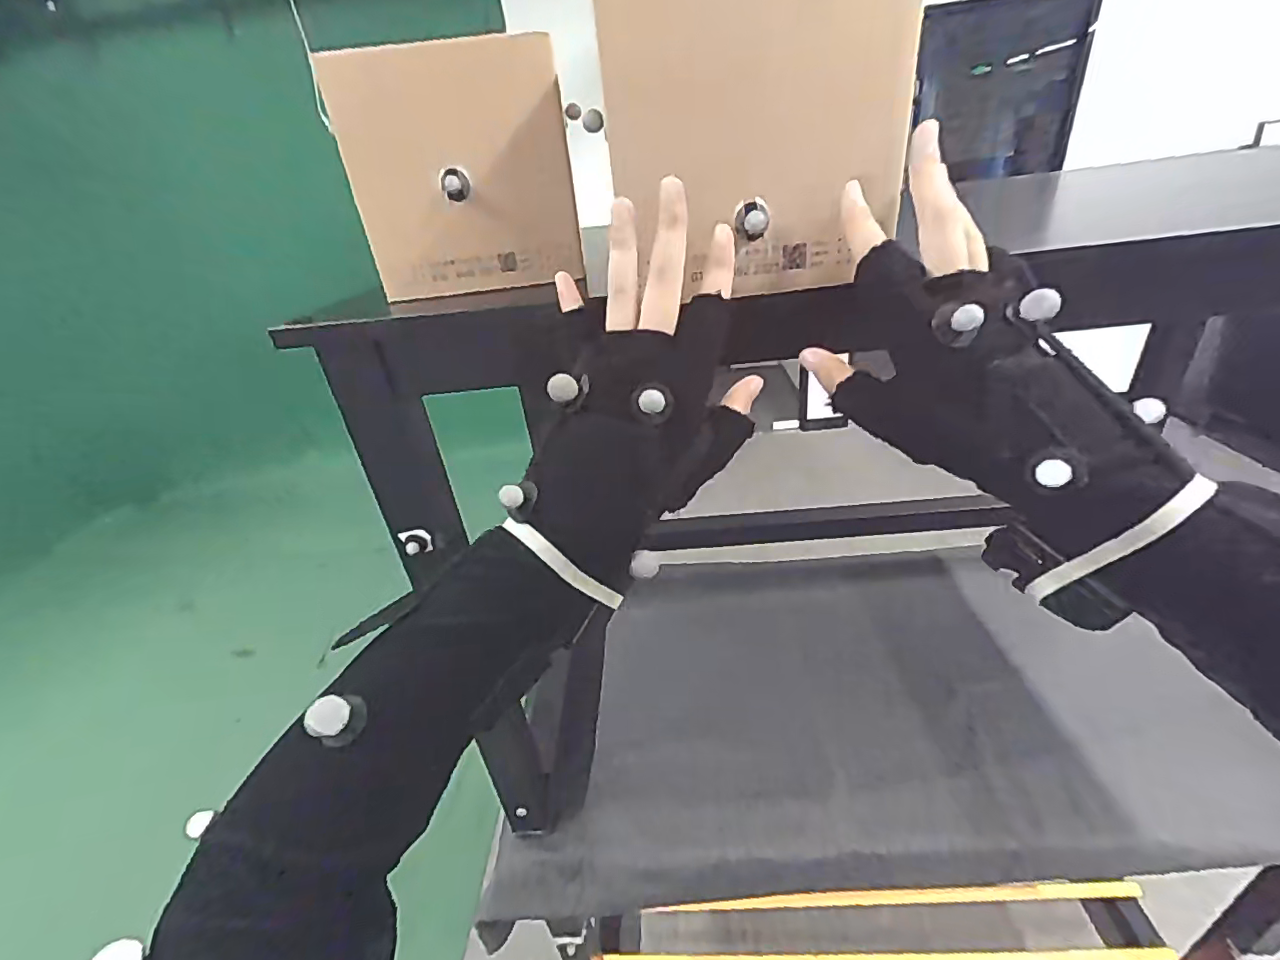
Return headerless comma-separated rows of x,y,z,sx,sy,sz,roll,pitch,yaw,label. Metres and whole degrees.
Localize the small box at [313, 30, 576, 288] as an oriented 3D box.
-0.152,-0.279,0.497,0.168,0.176,0.179,-7,29,-2,small box
